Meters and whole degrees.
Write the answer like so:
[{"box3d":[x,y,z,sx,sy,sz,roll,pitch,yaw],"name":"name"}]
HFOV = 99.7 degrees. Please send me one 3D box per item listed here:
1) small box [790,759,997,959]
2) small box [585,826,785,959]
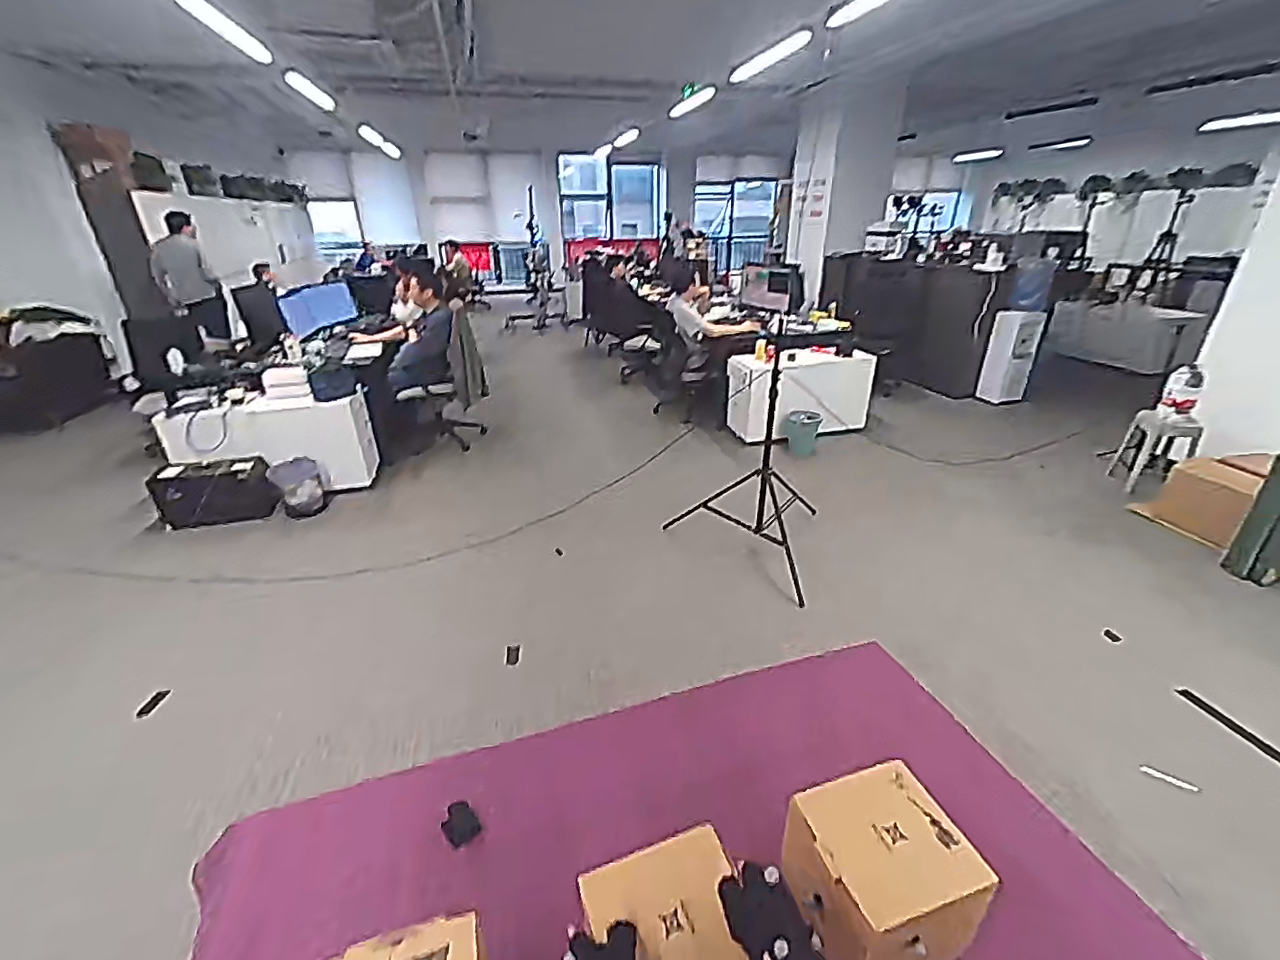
[{"box3d":[0.310,0.509,0.699,0.179,0.176,0.168,-10,27,-15],"name":"small box"},{"box3d":[0.046,0.555,0.620,0.179,0.176,0.168,-12,26,-19],"name":"small box"}]
